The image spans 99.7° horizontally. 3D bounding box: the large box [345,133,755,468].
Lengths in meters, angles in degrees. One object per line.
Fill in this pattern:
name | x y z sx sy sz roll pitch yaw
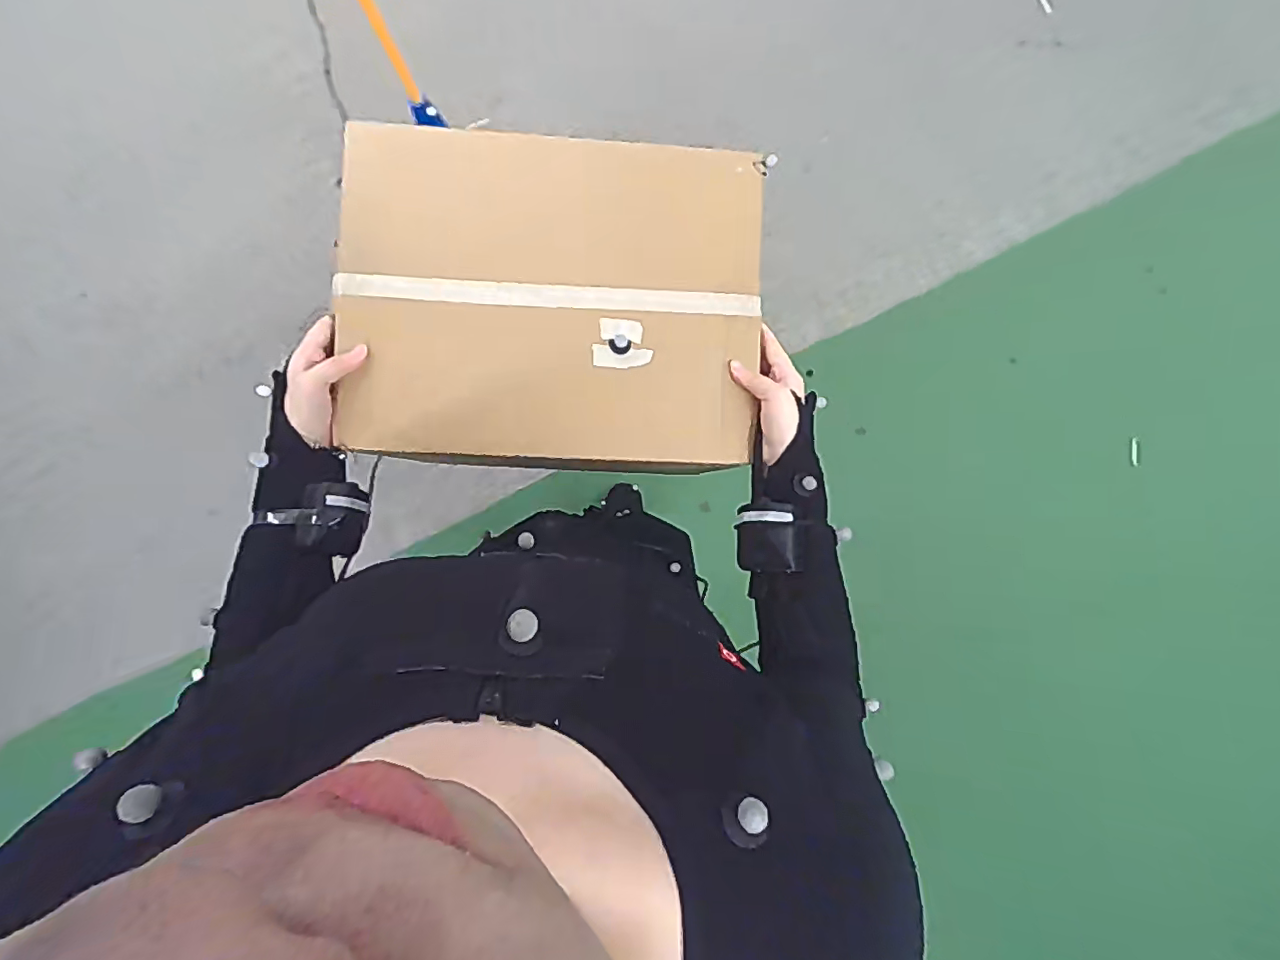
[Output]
large box | -0.096 -0.176 0.679 0.408 0.320 0.320 1 89 -5
